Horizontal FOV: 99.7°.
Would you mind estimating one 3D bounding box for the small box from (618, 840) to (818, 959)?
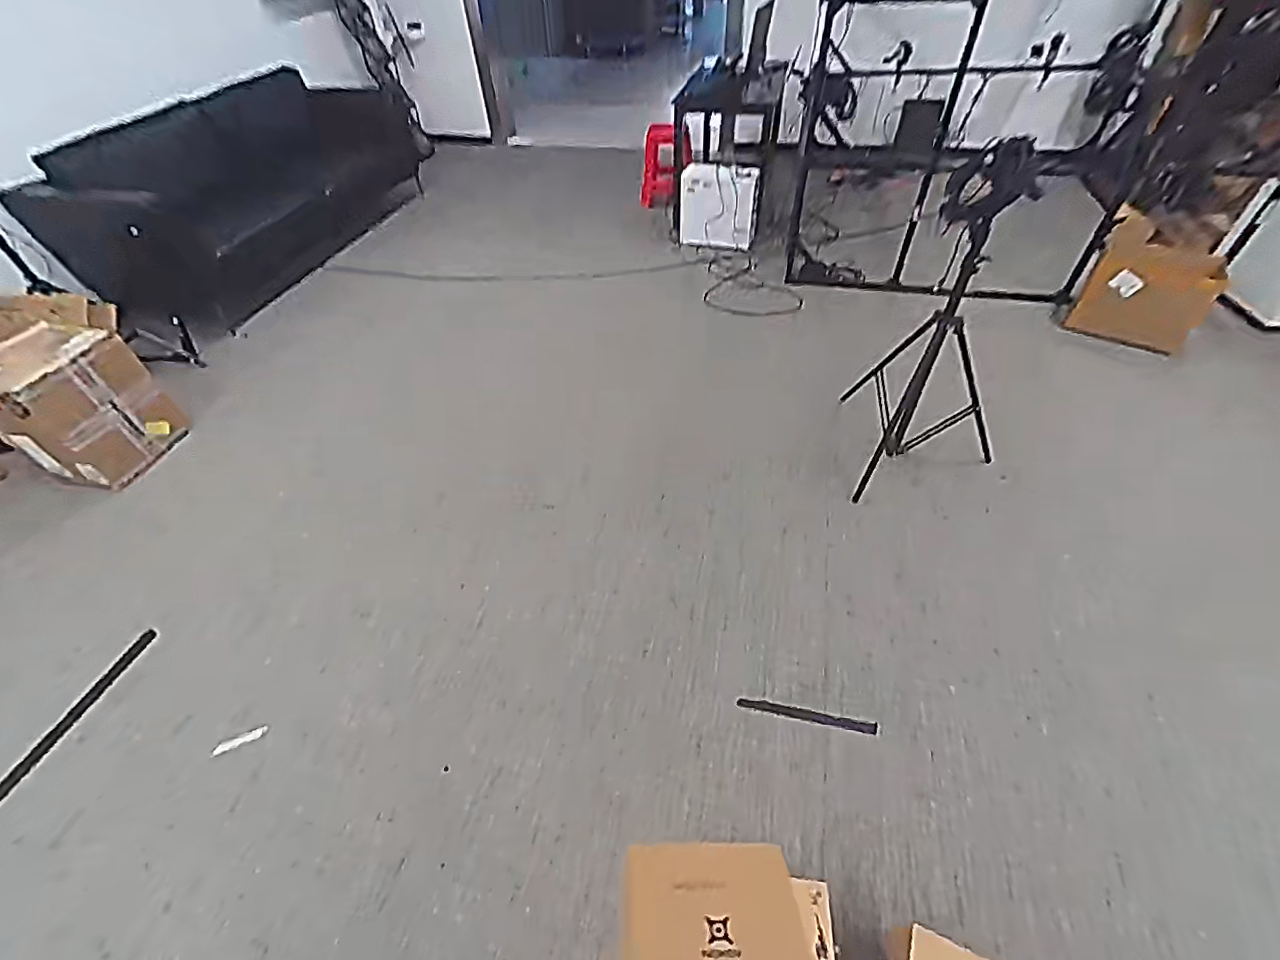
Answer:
[{"bbox_3d":[0.067,0.481,0.508,0.168,0.176,0.179,4,19,-5],"label":"small box"}]

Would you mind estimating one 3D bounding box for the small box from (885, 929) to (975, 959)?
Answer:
[{"bbox_3d":[0.562,0.977,0.999,0.179,0.176,0.168,17,49,19],"label":"small box"}]

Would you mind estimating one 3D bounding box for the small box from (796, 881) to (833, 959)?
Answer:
[{"bbox_3d":[0.277,0.910,1.079,0.179,0.176,0.168,3,47,7],"label":"small box"}]
